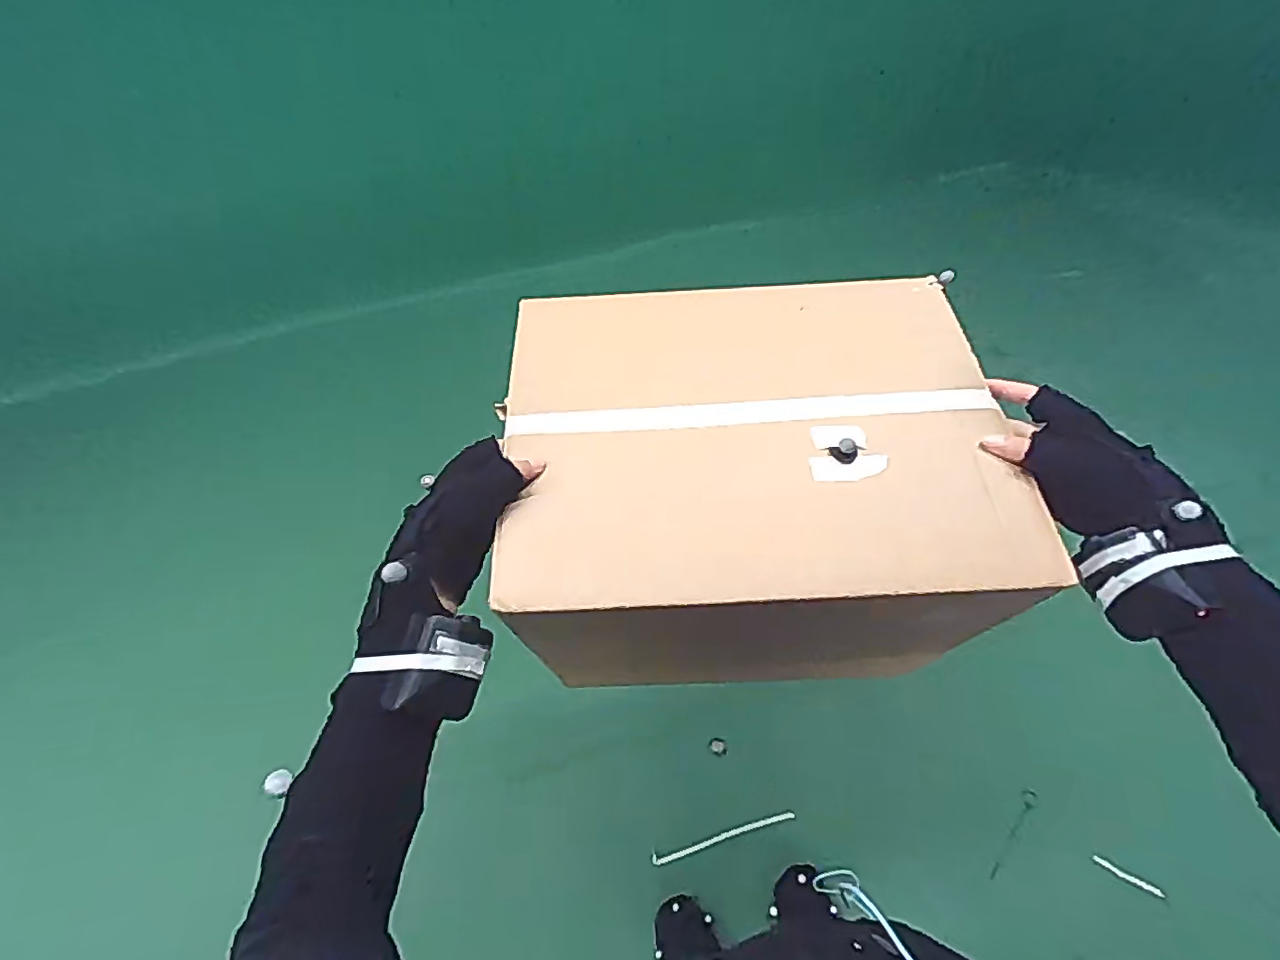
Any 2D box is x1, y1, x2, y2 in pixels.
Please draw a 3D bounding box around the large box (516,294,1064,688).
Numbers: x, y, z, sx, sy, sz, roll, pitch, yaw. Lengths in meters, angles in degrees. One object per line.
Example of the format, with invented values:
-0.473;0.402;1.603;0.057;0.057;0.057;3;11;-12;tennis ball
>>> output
0.104;0.029;0.589;0.408;0.320;0.320;-2;59;1;large box
